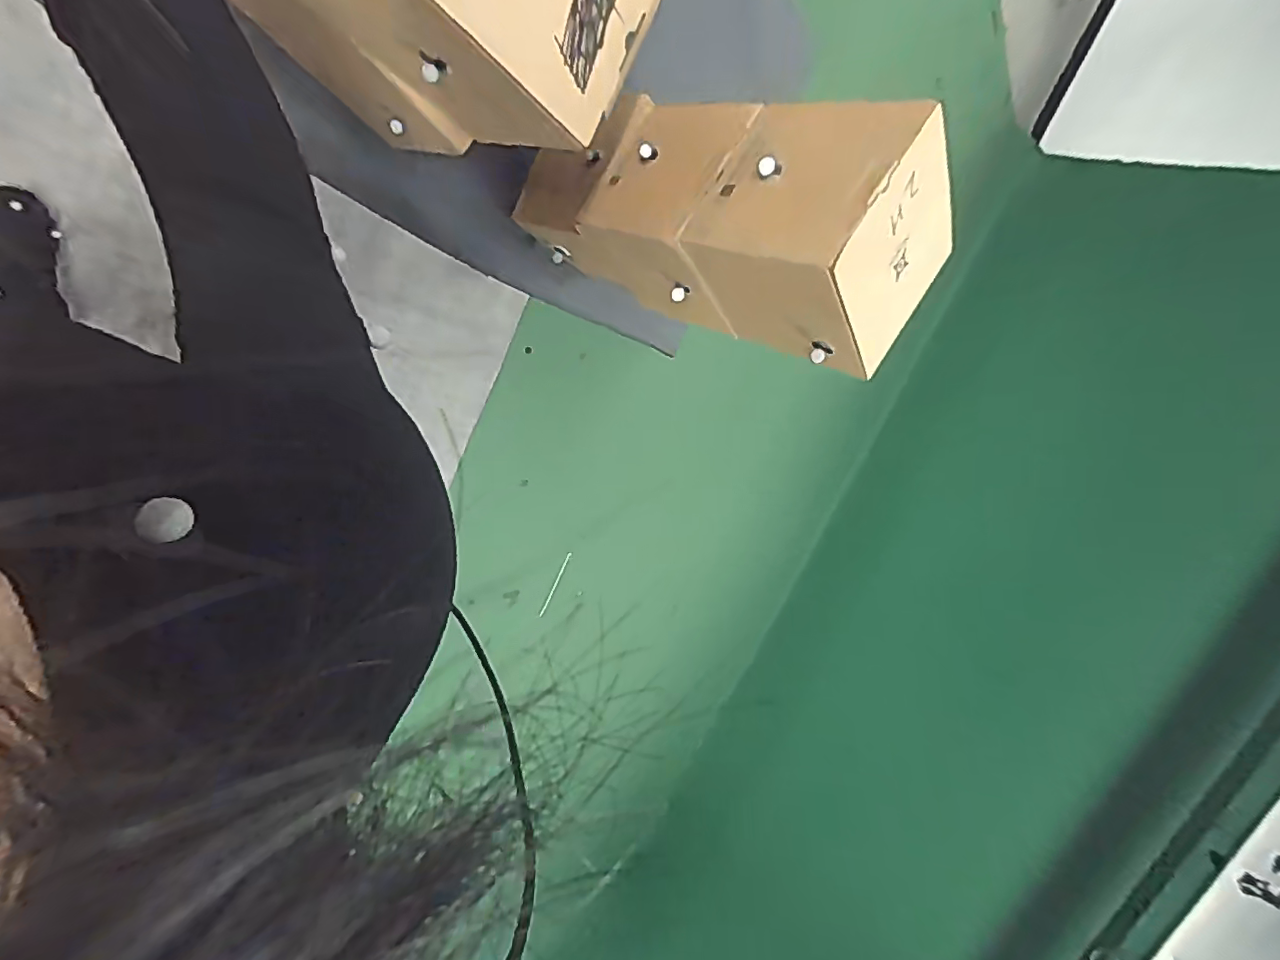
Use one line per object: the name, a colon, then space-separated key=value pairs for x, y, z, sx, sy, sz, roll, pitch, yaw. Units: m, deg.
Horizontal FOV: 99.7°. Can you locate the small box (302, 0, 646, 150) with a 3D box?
small box: x=-0.115 y=-0.372 z=0.384 sx=0.179 sy=0.176 sz=0.168 roll=16 pitch=102 yaw=-51

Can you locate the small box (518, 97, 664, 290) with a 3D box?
small box: x=-0.037 y=-0.378 z=0.734 sx=0.168 sy=0.176 sz=0.179 roll=16 pitch=103 yaw=-50

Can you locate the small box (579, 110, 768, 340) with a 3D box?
small box: x=0.065 y=-0.298 z=0.637 sx=0.179 sy=0.176 sz=0.168 roll=33 pitch=89 yaw=-50

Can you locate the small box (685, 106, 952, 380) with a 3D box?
small box: x=0.178 y=-0.232 z=0.536 sx=0.168 sy=0.176 sz=0.179 roll=-57 pitch=141 yaw=-2
